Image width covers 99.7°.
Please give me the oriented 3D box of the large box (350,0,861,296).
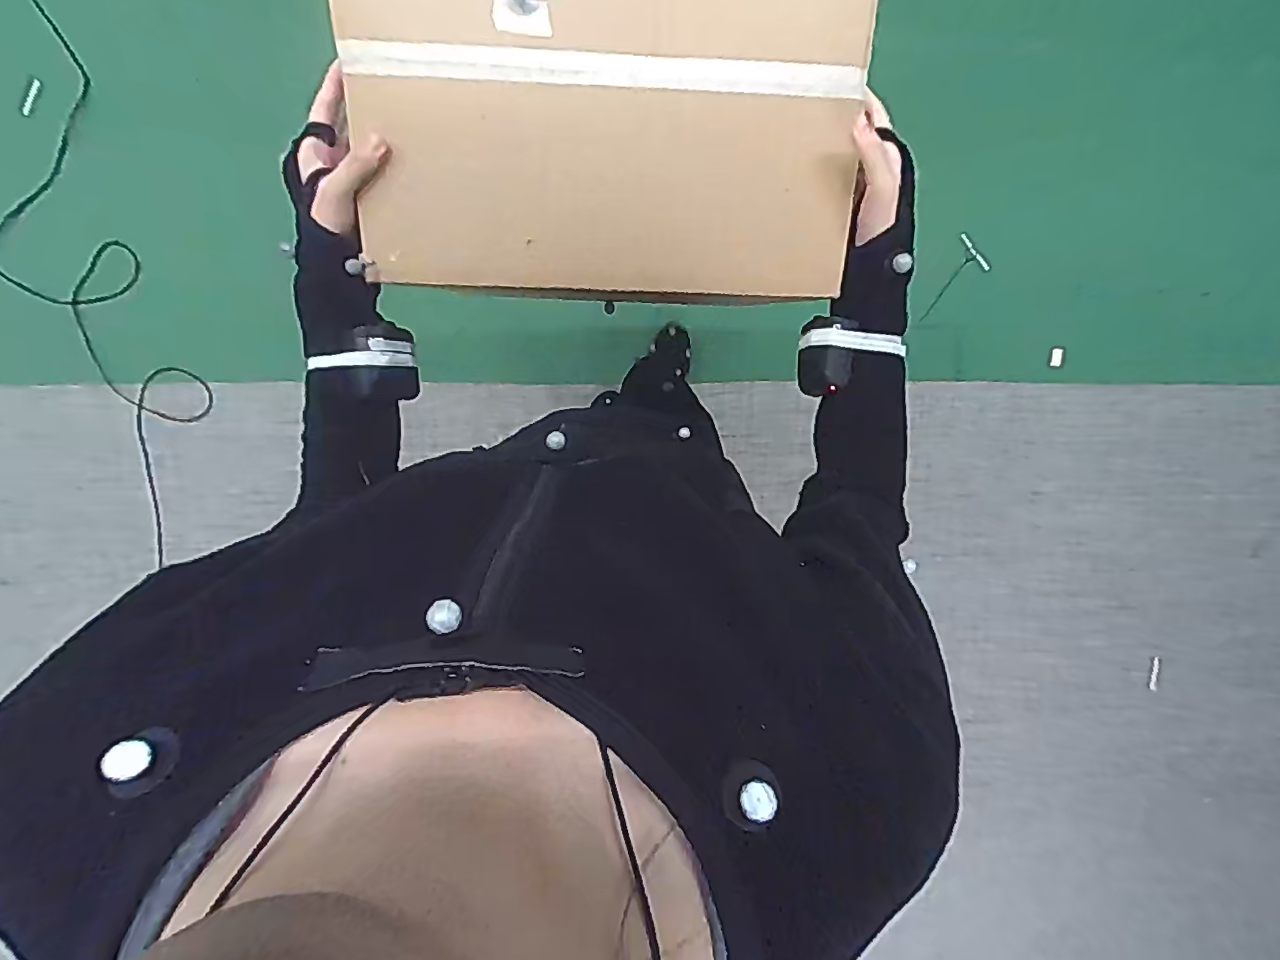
[{"bbox_3d":[-0.030,-0.363,0.577,0.408,0.320,0.320,1,107,-3],"label":"large box"}]
